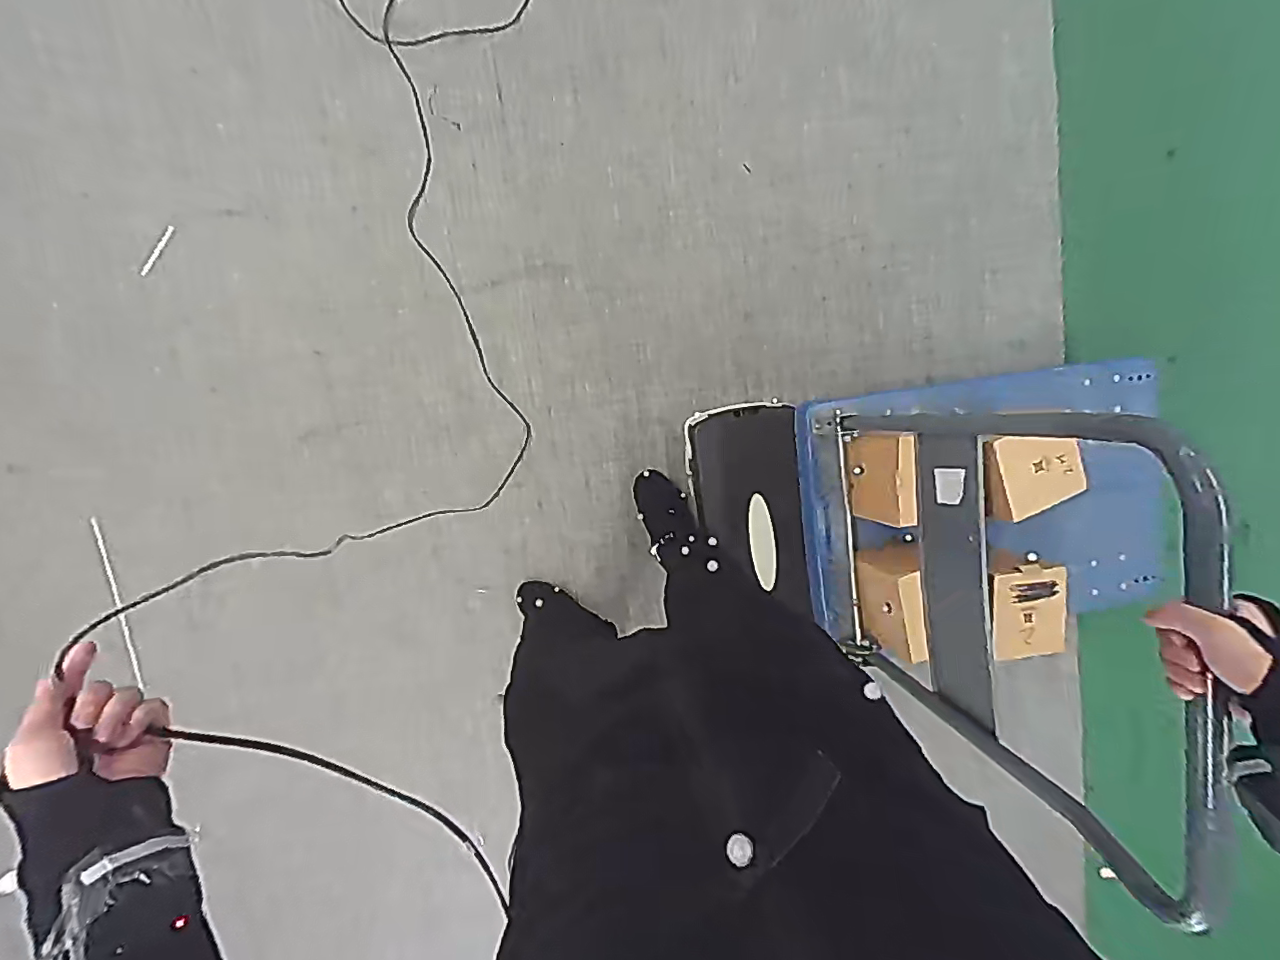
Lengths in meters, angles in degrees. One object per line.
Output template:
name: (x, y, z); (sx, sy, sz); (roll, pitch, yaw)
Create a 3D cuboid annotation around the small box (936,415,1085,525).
small box: (0.731, -0.025, 1.089); (0.179, 0.176, 0.168); (-21, 100, -8)
